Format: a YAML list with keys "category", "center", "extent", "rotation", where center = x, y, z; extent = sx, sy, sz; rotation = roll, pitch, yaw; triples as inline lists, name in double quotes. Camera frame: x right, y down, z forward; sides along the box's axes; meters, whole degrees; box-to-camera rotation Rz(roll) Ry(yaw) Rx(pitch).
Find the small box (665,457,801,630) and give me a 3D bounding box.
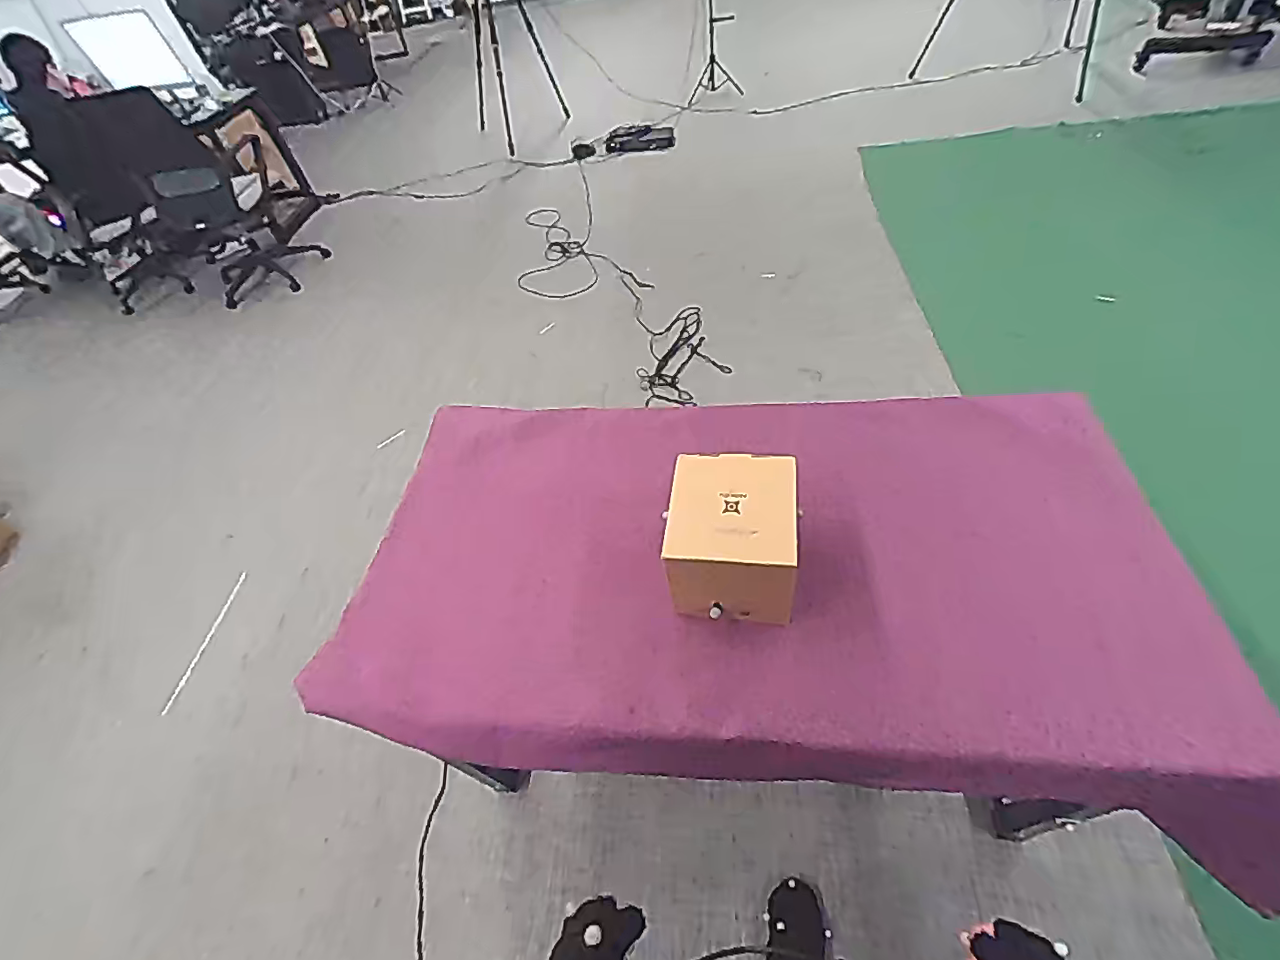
- category: "small box"
  center: [0.135, 0.089, 0.761]
  extent: [0.168, 0.176, 0.179]
  rotation: [2, 52, 13]
